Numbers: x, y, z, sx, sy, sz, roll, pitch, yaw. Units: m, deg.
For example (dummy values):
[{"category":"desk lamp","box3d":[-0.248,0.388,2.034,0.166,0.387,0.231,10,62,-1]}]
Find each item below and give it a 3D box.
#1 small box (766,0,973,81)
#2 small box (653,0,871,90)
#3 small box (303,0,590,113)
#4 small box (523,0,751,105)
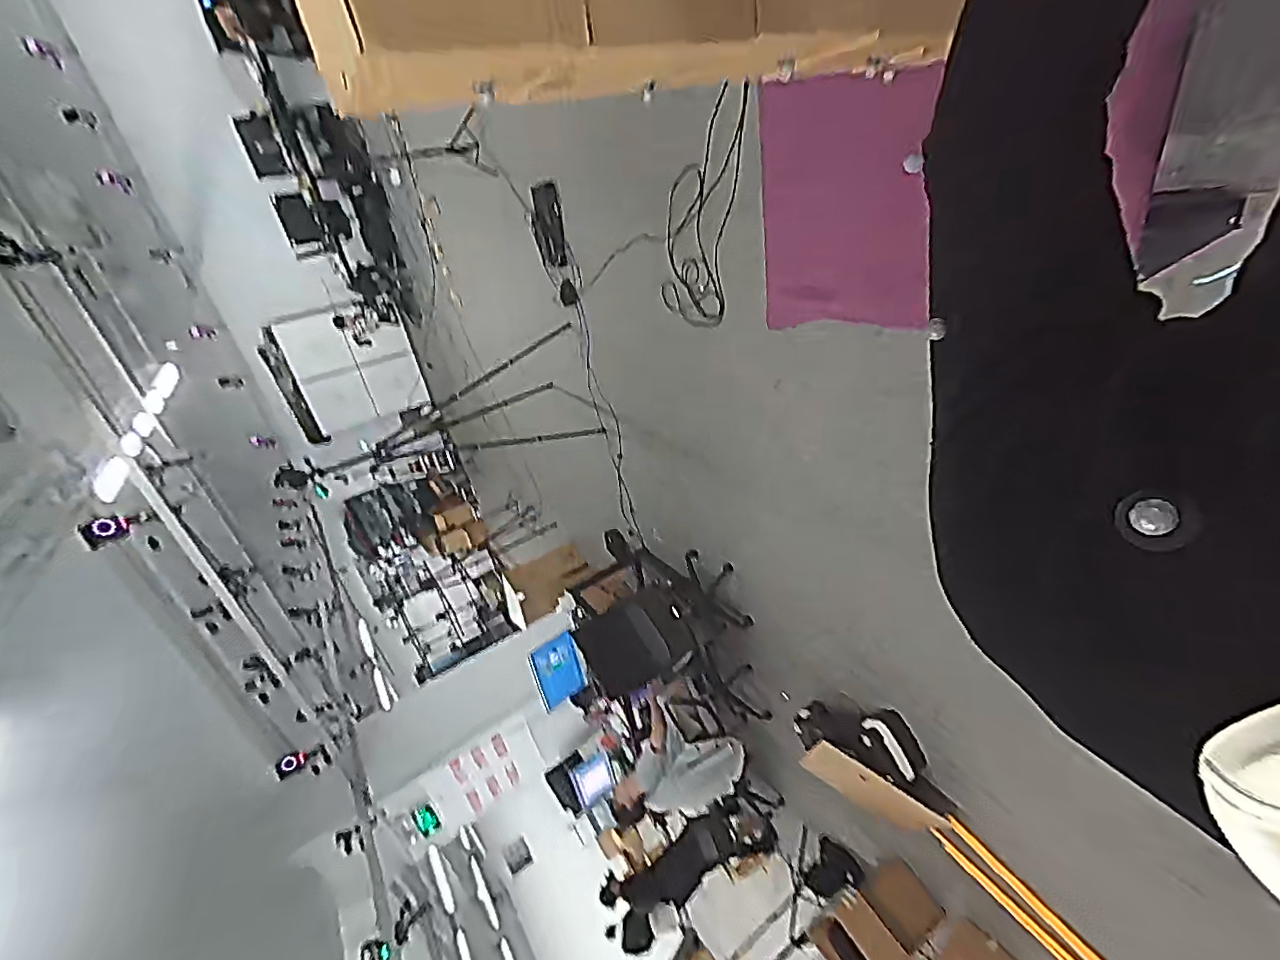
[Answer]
[{"category":"small box","box3d":[0.253,-0.572,0.603,0.168,0.176,0.179,31,139,51]},{"category":"small box","box3d":[0.115,-0.513,0.540,0.179,0.176,0.168,29,136,51]},{"category":"small box","box3d":[-0.156,-0.396,0.400,0.168,0.176,0.179,30,138,52]},{"category":"small box","box3d":[-0.019,-0.452,0.467,0.168,0.176,0.179,30,136,52]}]
